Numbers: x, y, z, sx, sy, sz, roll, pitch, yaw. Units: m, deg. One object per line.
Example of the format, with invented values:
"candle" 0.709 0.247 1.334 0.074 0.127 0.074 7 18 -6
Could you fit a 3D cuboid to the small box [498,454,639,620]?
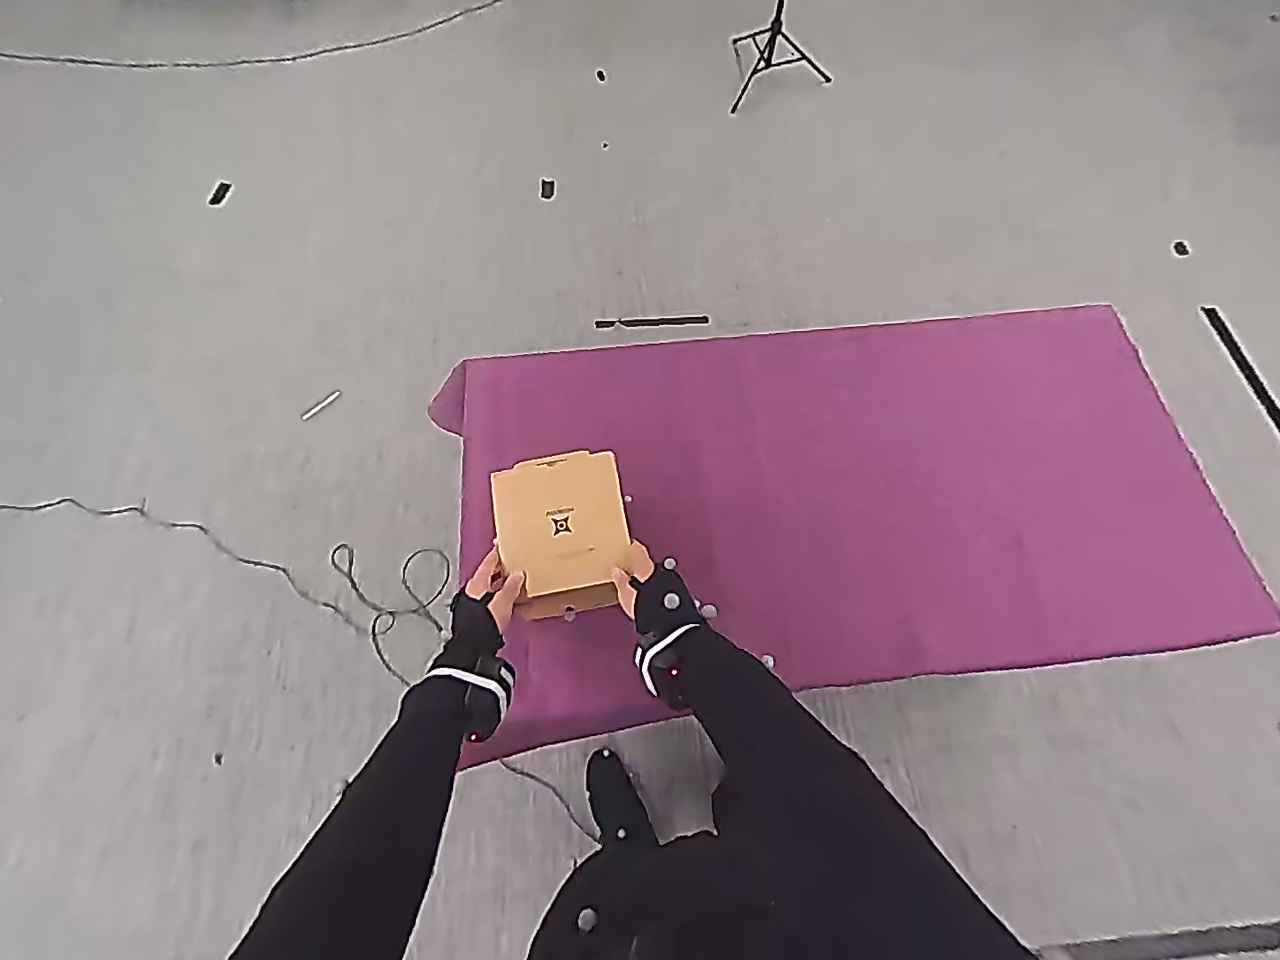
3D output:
"small box" -0.097 0.086 0.766 0.168 0.176 0.179 -9 67 -4
